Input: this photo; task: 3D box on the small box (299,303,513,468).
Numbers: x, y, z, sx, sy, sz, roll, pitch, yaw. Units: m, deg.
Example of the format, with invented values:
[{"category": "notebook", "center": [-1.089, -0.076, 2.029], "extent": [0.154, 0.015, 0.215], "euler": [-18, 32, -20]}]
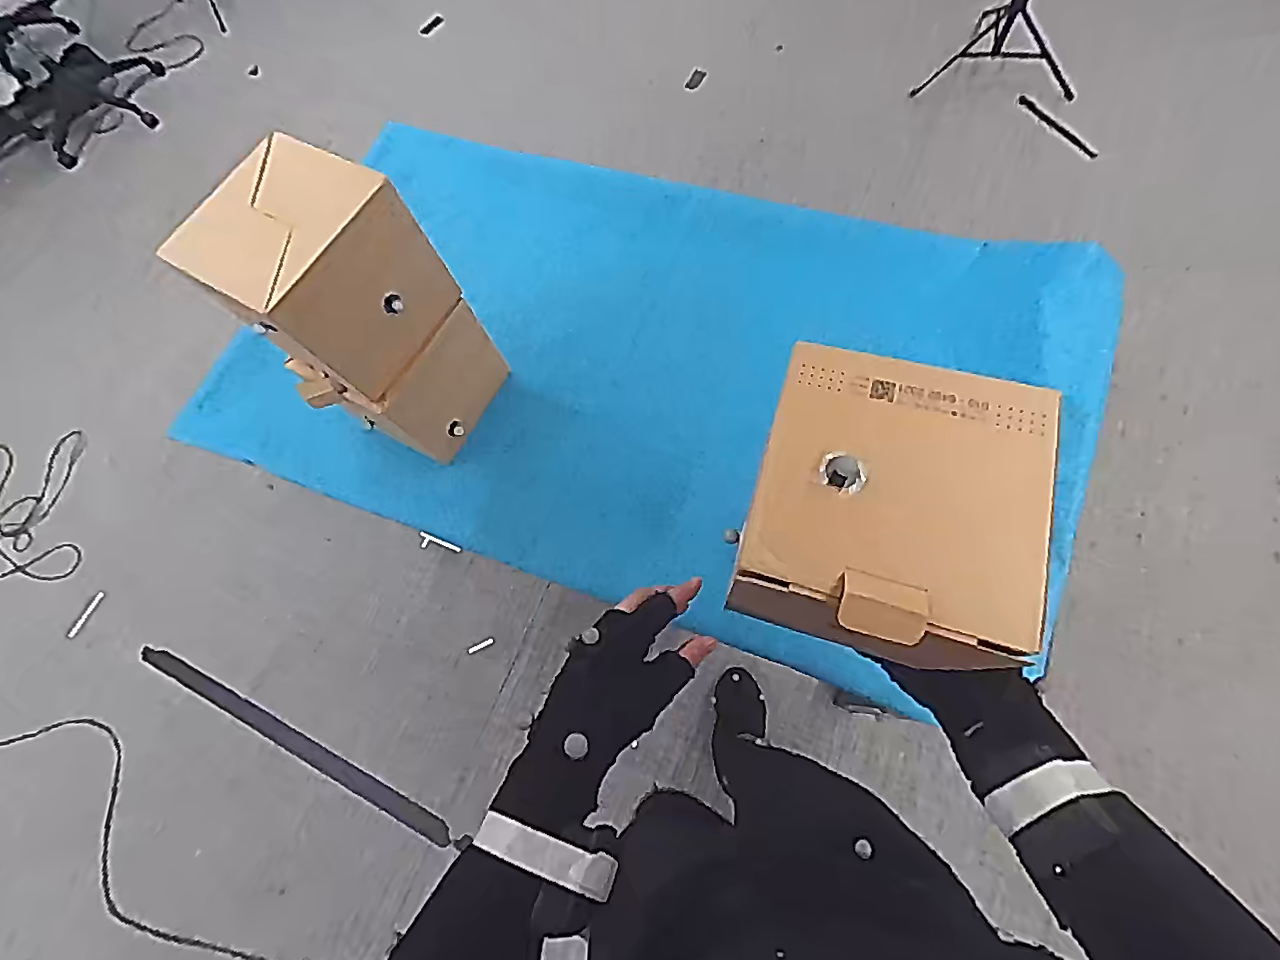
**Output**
[{"category": "small box", "center": [-0.311, -0.148, 0.739], "extent": [0.168, 0.176, 0.179], "euler": [24, 75, 15]}]

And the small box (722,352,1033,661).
[{"category": "small box", "center": [0.167, 0.027, 0.414], "extent": [0.168, 0.179, 0.176], "euler": [16, 72, 11]}]

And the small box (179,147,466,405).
[{"category": "small box", "center": [-0.335, -0.218, 0.592], "extent": [0.168, 0.176, 0.179], "euler": [28, 77, 17]}]
